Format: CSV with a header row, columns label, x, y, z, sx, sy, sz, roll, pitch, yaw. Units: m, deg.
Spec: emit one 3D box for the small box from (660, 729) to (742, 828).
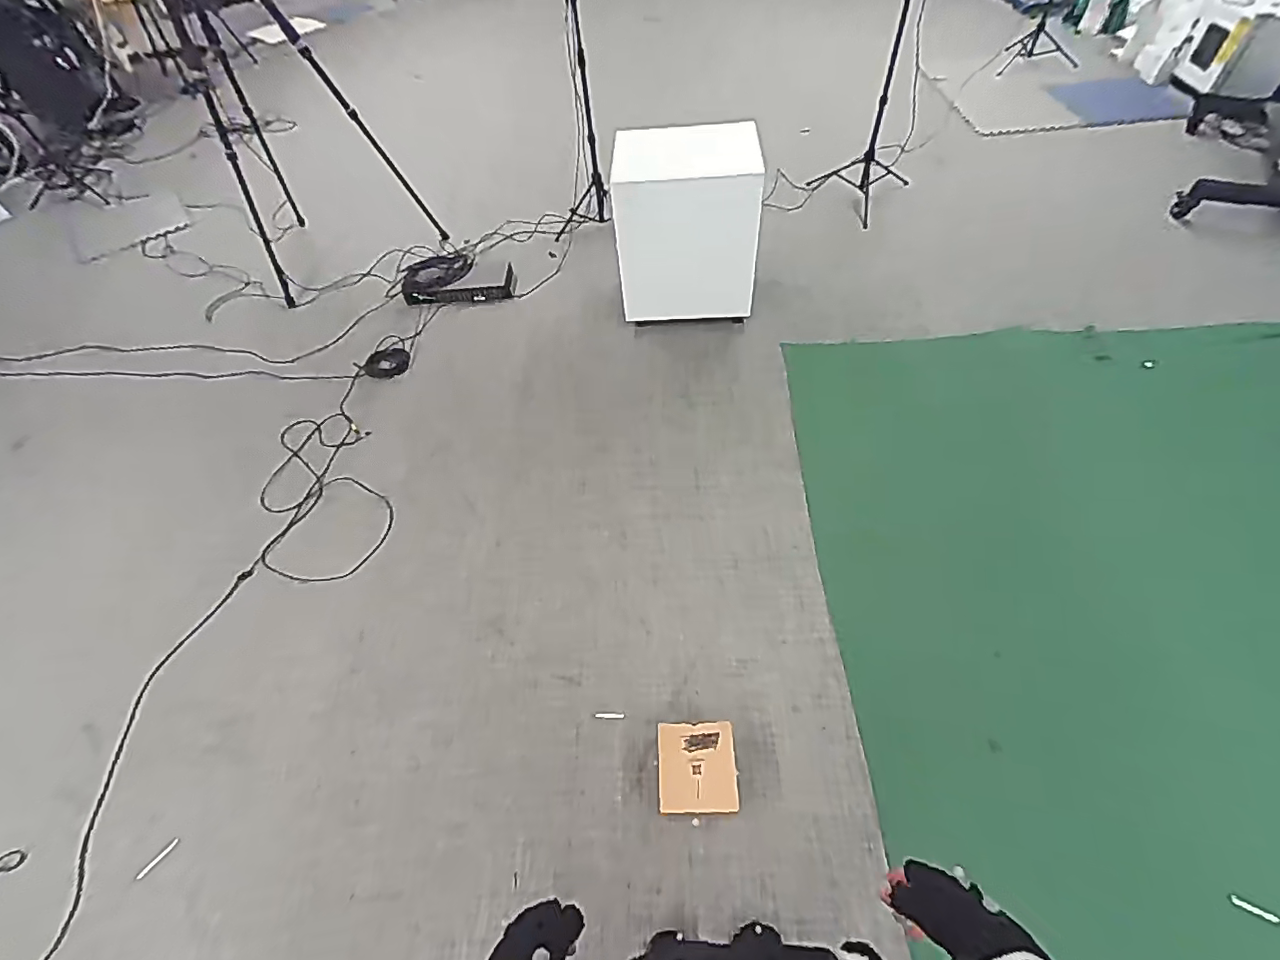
label,x,y,z,sx,sy,sz,roll,pitch,yaw
small box,0.129,0.670,1.210,0.168,0.176,0.179,-3,54,3
